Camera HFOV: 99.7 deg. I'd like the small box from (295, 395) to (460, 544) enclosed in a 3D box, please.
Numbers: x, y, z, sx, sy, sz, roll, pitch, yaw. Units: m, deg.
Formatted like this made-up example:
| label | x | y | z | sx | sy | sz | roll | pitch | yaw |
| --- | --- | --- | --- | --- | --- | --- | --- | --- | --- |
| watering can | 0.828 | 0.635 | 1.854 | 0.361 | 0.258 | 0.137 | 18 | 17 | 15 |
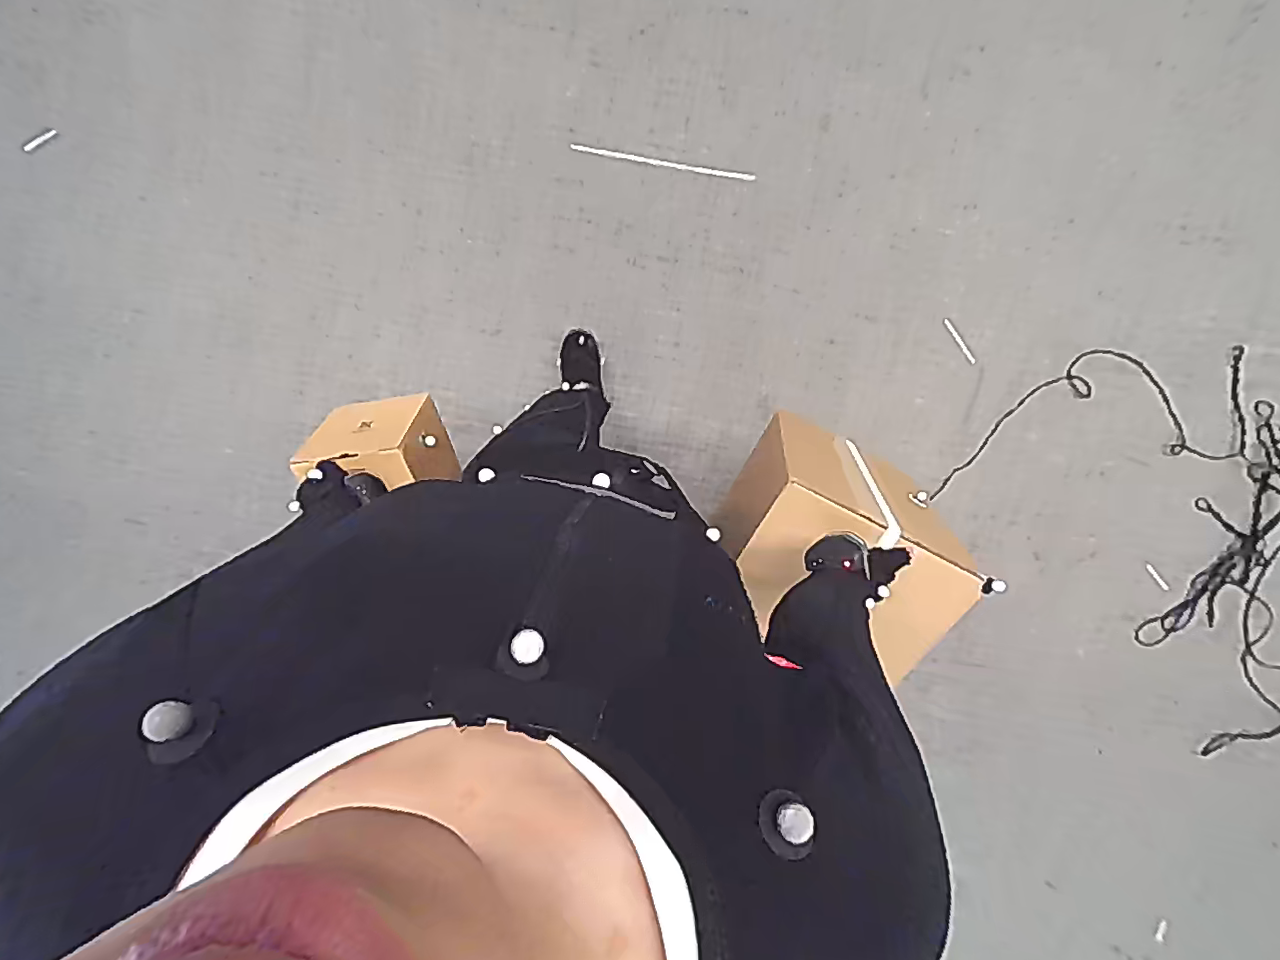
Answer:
| label | x | y | z | sx | sy | sz | roll | pitch | yaw |
| --- | --- | --- | --- | --- | --- | --- | --- | --- | --- |
| small box | -0.416 | -0.019 | 0.896 | 0.168 | 0.179 | 0.176 | -8 | 126 | 3 |
